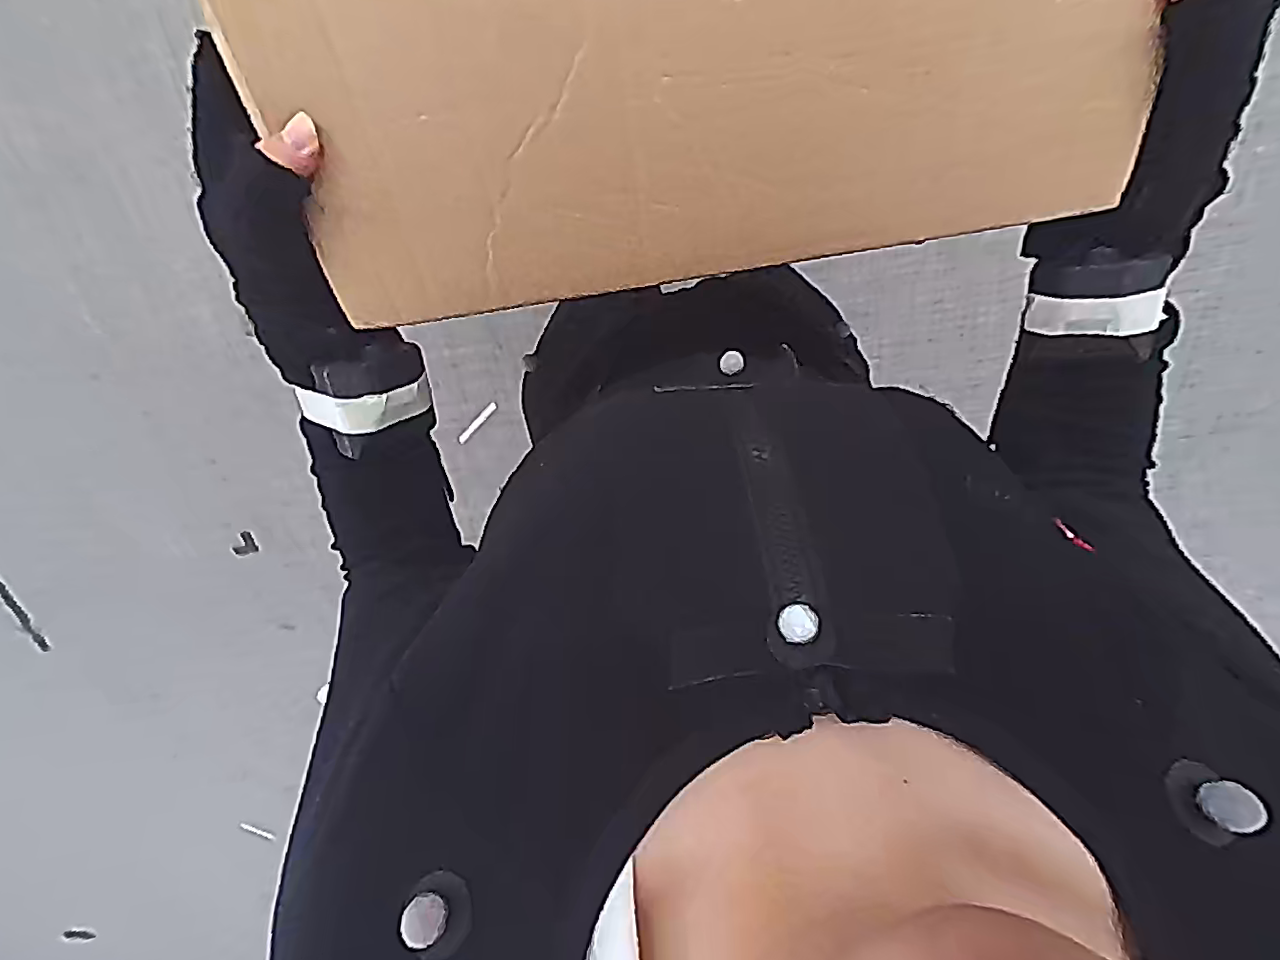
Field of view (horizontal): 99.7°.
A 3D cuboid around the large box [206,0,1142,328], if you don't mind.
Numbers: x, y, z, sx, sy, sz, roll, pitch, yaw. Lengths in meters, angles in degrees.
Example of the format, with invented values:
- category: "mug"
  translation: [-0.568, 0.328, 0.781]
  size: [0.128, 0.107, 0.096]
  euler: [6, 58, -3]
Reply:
- category: "large box"
  translation: [0.009, -0.325, 0.328]
  size: [0.408, 0.320, 0.320]
  euler: [-8, 125, 4]
